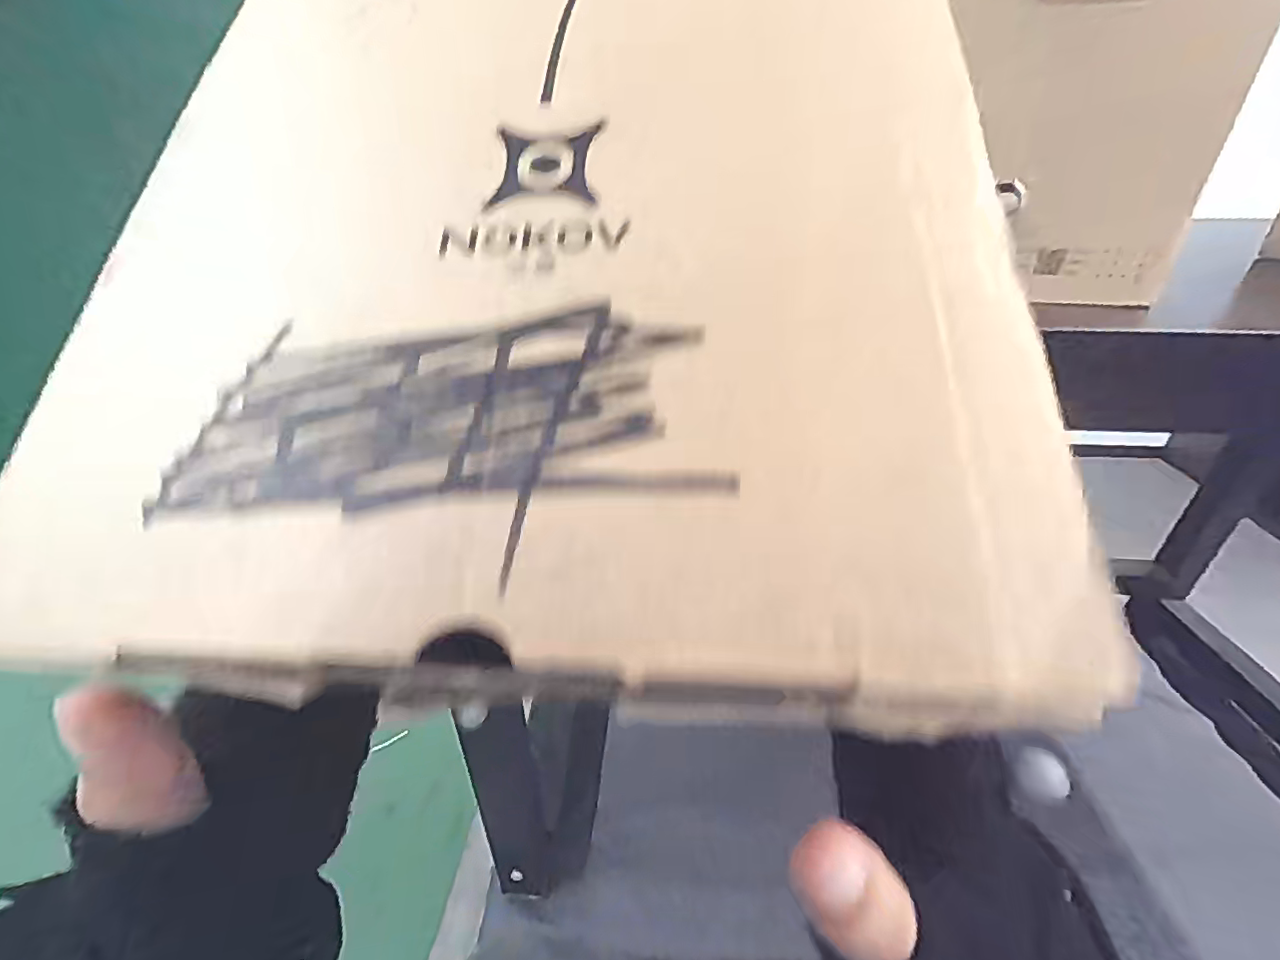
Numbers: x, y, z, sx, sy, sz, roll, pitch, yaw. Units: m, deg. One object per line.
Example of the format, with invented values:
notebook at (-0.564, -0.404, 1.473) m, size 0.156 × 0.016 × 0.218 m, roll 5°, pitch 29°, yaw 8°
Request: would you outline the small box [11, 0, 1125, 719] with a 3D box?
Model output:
small box at (-0.007, -0.023, 0.180) m, size 0.168 × 0.176 × 0.179 m, roll 1°, pitch 68°, yaw 6°
